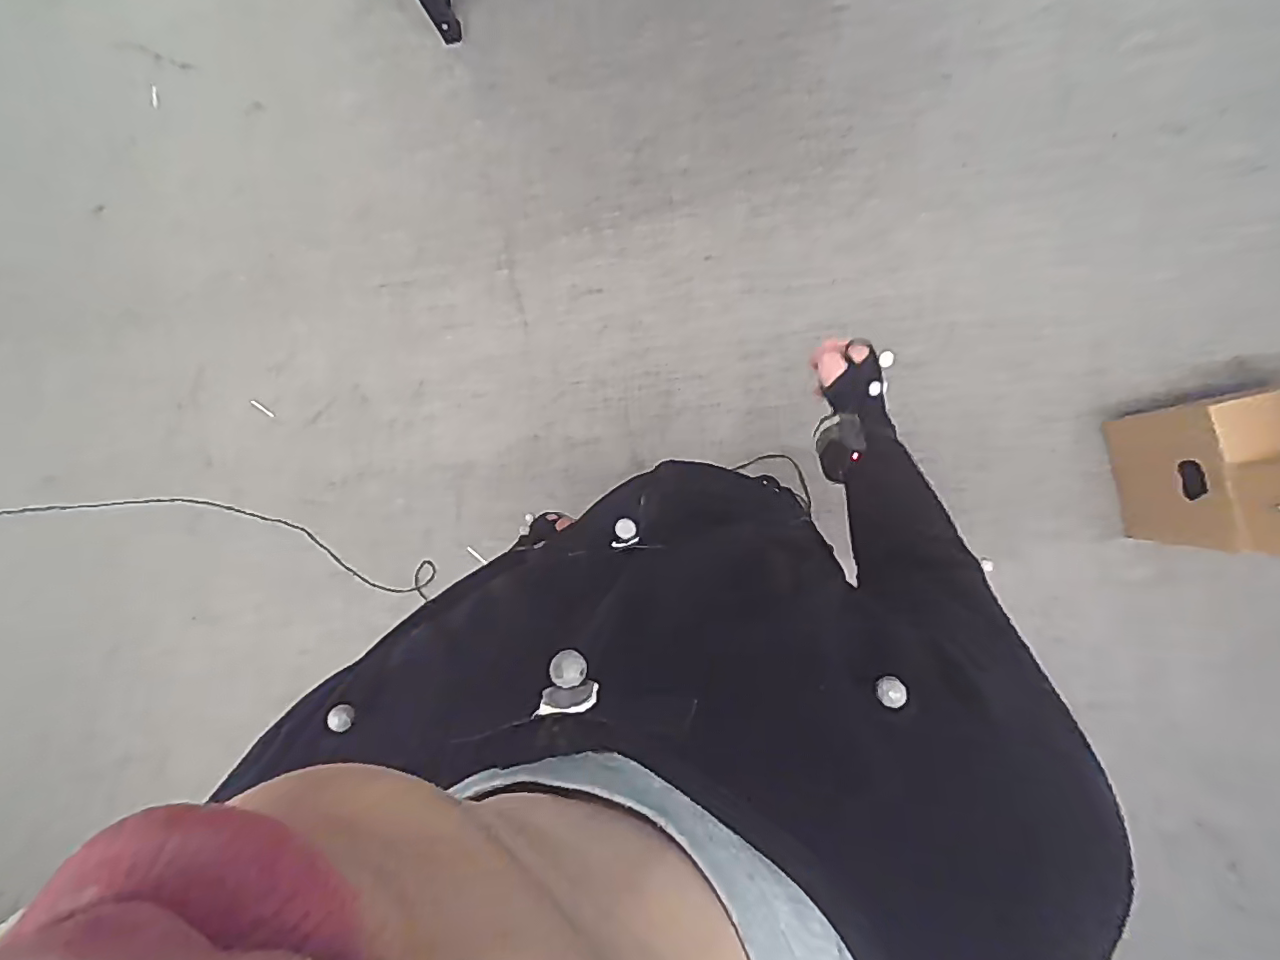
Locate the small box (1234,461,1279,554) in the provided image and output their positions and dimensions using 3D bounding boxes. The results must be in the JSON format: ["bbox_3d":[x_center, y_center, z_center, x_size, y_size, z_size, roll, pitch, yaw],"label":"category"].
[{"bbox_3d":[1.270,0.044,0.994,0.168,0.176,0.179,-14,90,8],"label":"small box"}]
